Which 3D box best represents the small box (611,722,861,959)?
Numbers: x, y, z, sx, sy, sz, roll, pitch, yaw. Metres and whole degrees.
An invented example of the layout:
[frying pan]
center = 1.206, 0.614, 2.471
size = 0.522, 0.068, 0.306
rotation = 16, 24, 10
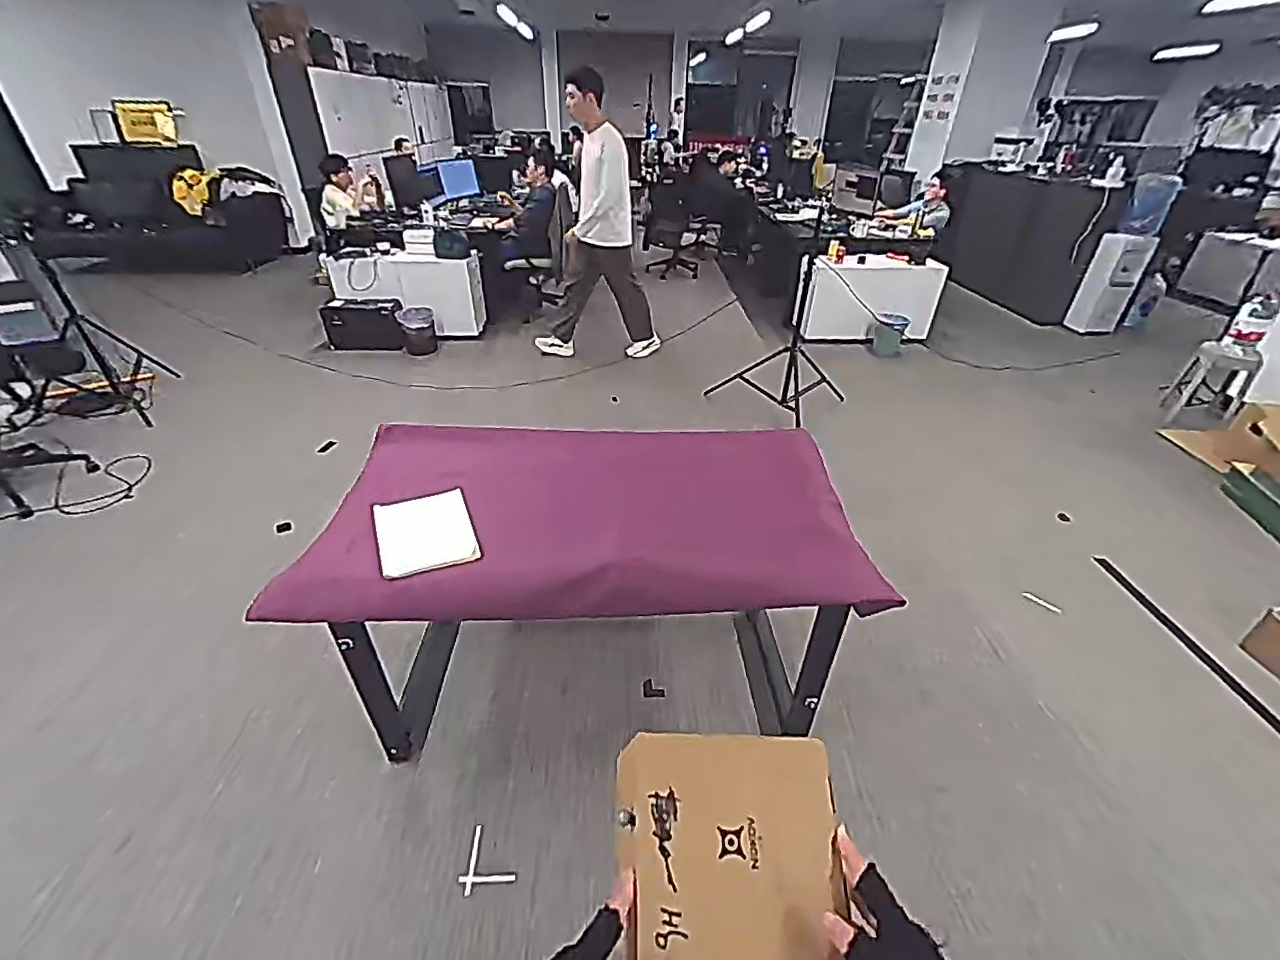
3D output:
[small box]
center = 0.073, 0.334, 0.510
size = 0.179, 0.176, 0.168
rotation = 6, 56, -7
